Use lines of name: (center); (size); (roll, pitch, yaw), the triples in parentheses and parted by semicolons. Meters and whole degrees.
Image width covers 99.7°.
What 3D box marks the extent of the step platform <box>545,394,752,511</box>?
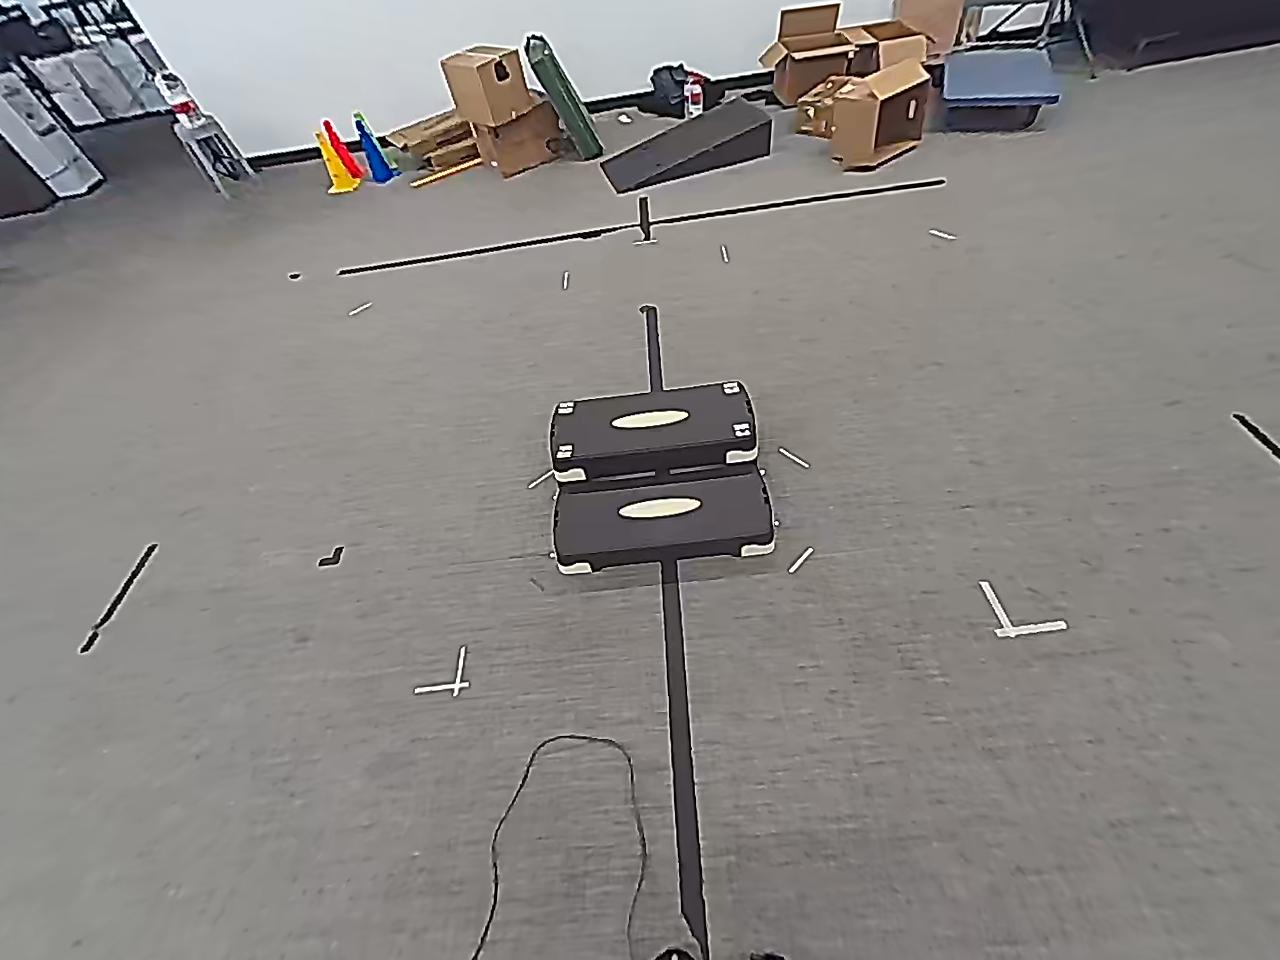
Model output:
step platform: (0.026, -0.097, 1.821); (0.684, 0.204, 0.286); (-7, 51, 3)
